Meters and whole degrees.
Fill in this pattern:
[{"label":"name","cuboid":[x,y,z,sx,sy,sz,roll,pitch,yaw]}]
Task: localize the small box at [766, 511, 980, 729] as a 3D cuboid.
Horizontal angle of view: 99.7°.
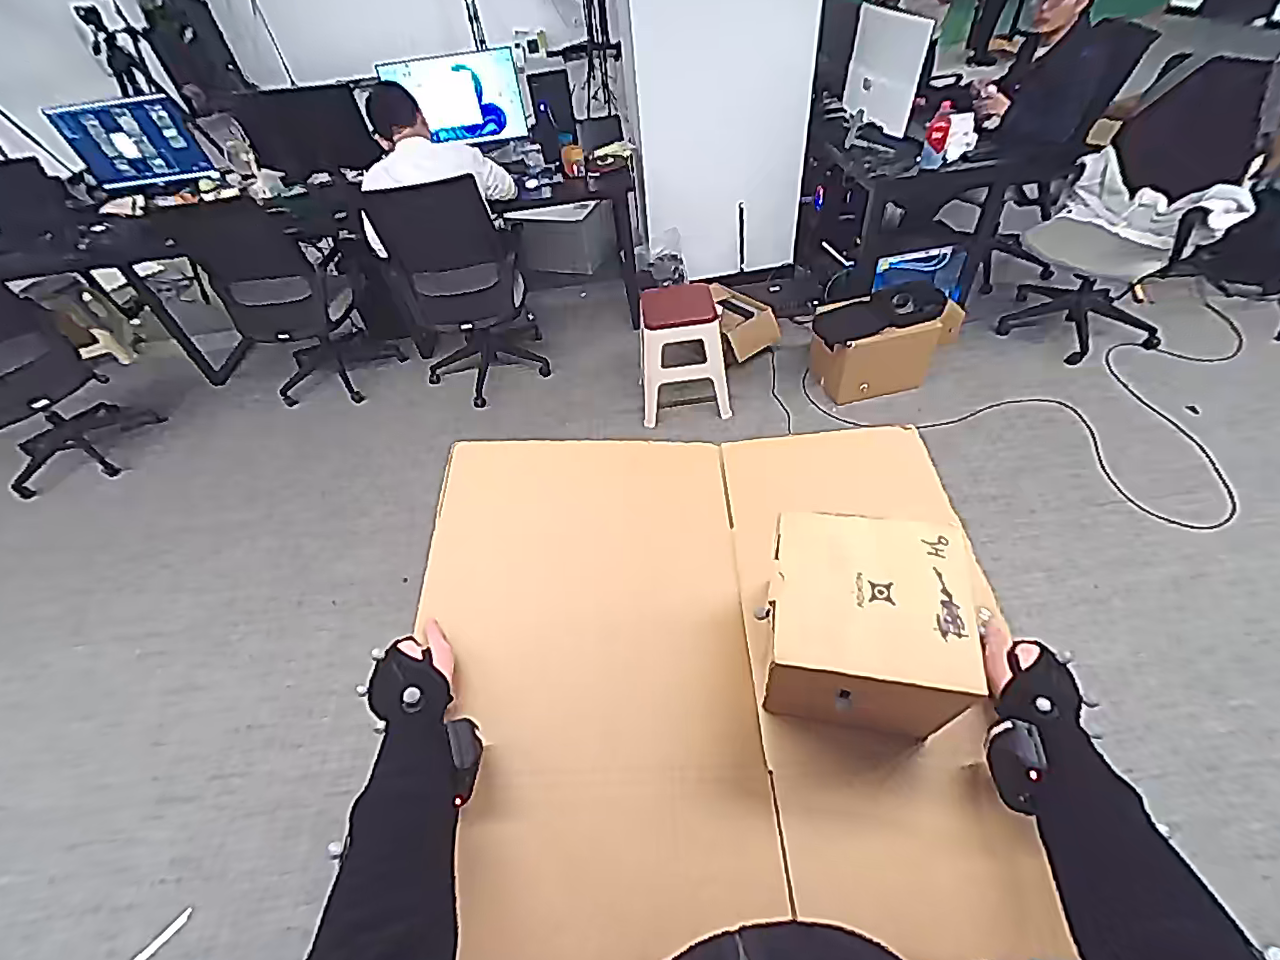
[{"label":"small box","cuboid":[0.229,0.152,0.577,0.179,0.176,0.168,4,55,14]}]
